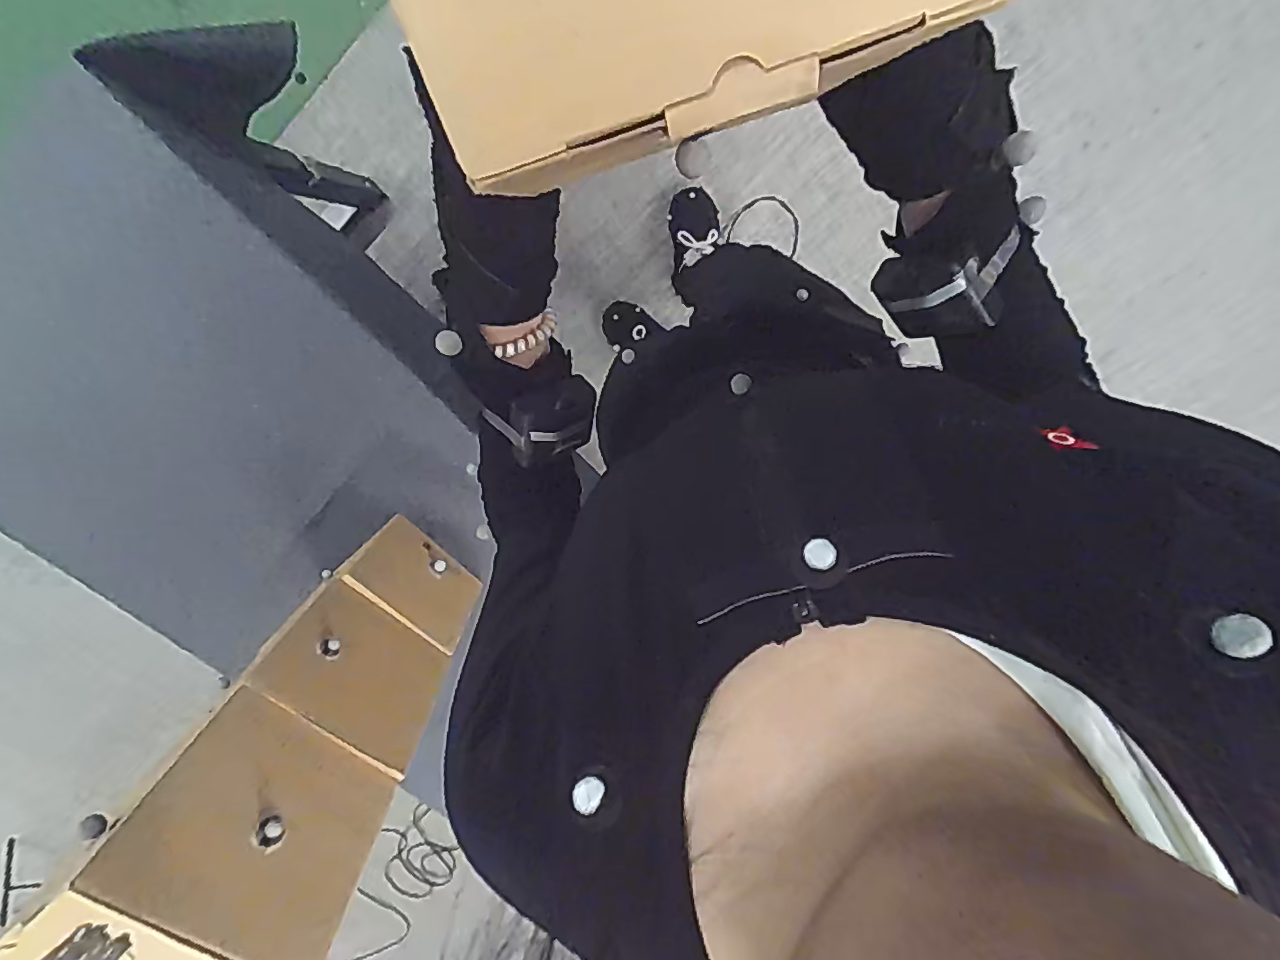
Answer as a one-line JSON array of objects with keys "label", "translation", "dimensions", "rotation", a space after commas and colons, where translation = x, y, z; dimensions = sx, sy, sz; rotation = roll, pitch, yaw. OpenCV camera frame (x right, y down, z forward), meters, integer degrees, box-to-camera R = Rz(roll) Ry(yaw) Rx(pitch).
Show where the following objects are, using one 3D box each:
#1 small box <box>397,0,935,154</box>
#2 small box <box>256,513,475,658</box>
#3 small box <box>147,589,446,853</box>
[{"label": "small box", "translation": [-0.005, -0.228, 0.181], "dimensions": [0.168, 0.176, 0.179], "rotation": [-17, 117, 3]}, {"label": "small box", "translation": [-0.353, 0.179, 0.735], "dimensions": [0.179, 0.176, 0.168], "rotation": [-39, 108, 12]}, {"label": "small box", "translation": [-0.348, 0.244, 0.585], "dimensions": [0.168, 0.176, 0.179], "rotation": [-41, 107, 14]}]
